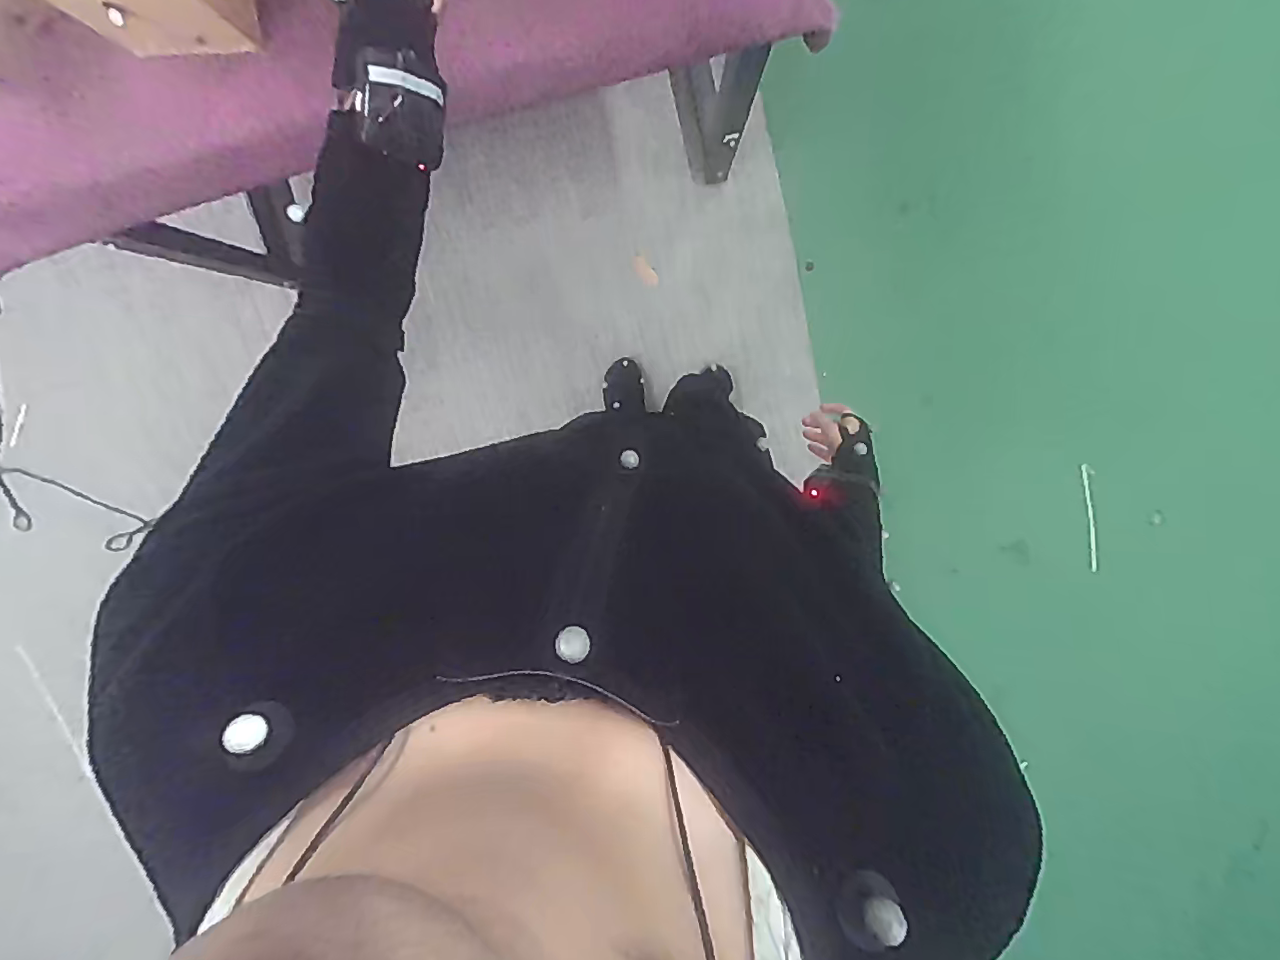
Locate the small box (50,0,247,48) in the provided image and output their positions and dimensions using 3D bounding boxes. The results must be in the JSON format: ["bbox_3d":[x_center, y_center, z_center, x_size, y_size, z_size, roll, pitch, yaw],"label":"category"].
[{"bbox_3d":[-0.567,-0.607,0.584,0.168,0.176,0.179,-1,100,2],"label":"small box"}]
